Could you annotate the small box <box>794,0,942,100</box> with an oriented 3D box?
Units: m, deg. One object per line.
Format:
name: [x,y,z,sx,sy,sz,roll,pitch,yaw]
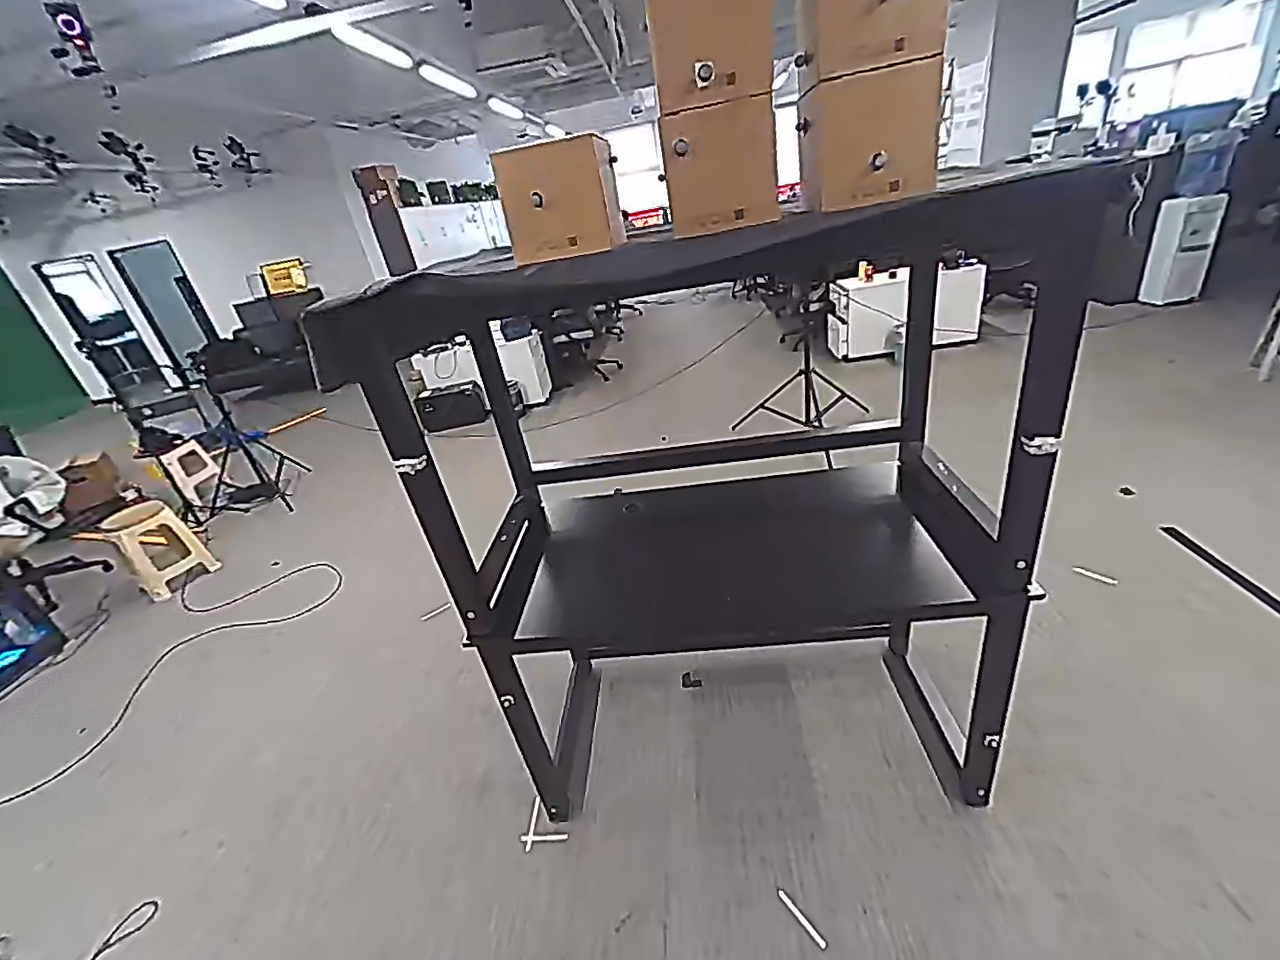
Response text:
small box: [0.315,-0.660,0.764,0.168,0.176,0.179,-6,28,9]

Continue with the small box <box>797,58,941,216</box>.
small box: [0.342,-0.515,0.837,0.168,0.176,0.179,-7,27,9]

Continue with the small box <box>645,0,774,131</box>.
small box: [0.101,-0.637,0.806,0.168,0.176,0.179,-8,27,8]

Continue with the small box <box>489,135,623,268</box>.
small box: [-0.130,-0.466,0.920,0.168,0.176,0.179,-5,26,10]
